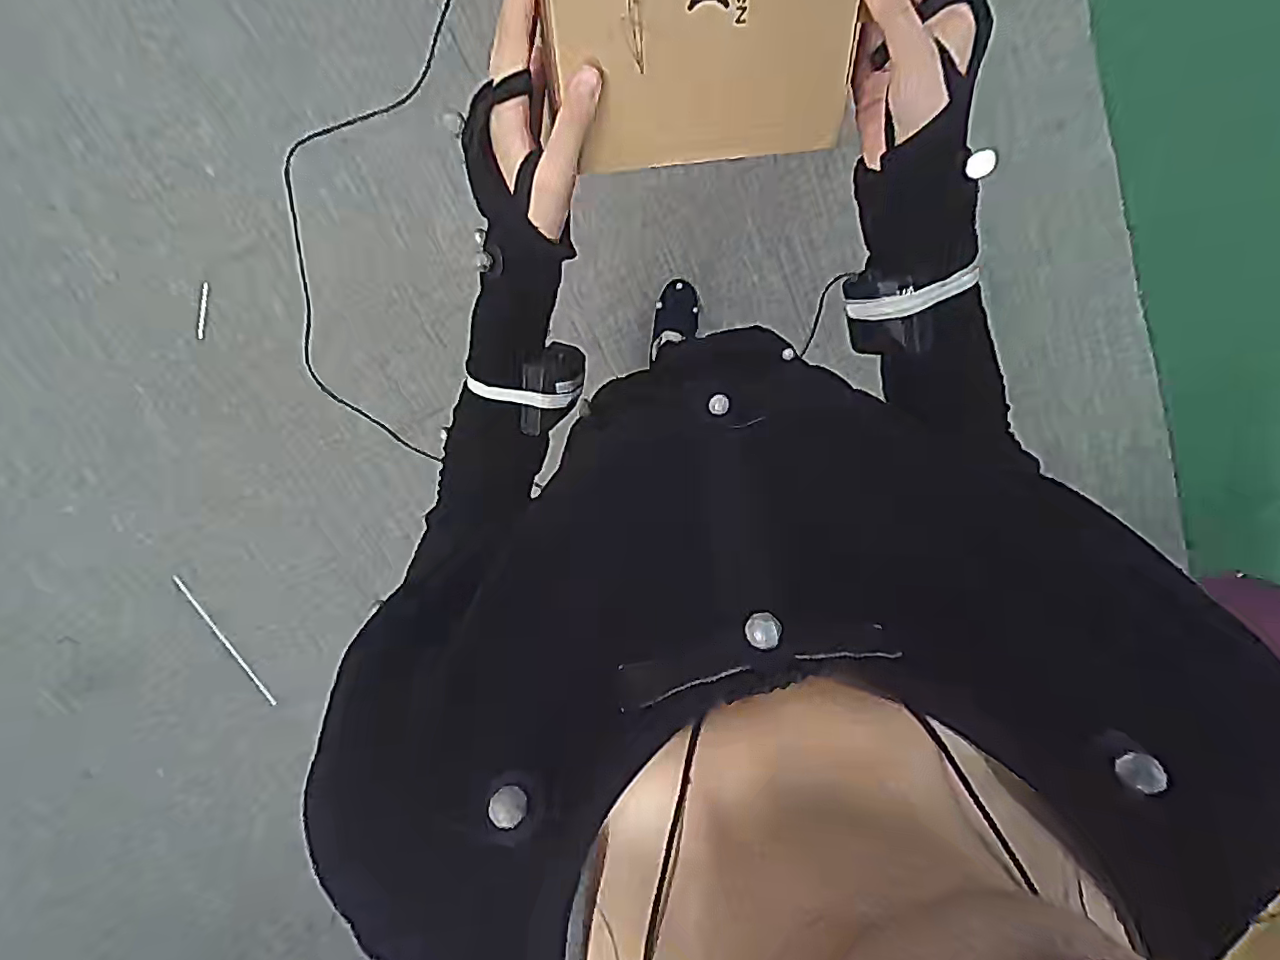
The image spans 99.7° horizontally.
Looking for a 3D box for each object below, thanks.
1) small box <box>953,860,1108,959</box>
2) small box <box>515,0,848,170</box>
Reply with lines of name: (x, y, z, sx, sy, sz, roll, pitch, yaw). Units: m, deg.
small box: (0.692, 0.818, 0.941, 0.168, 0.176, 0.179, -32, 104, 8)
small box: (0.014, -0.312, 0.340, 0.179, 0.176, 0.168, -11, 132, -8)
